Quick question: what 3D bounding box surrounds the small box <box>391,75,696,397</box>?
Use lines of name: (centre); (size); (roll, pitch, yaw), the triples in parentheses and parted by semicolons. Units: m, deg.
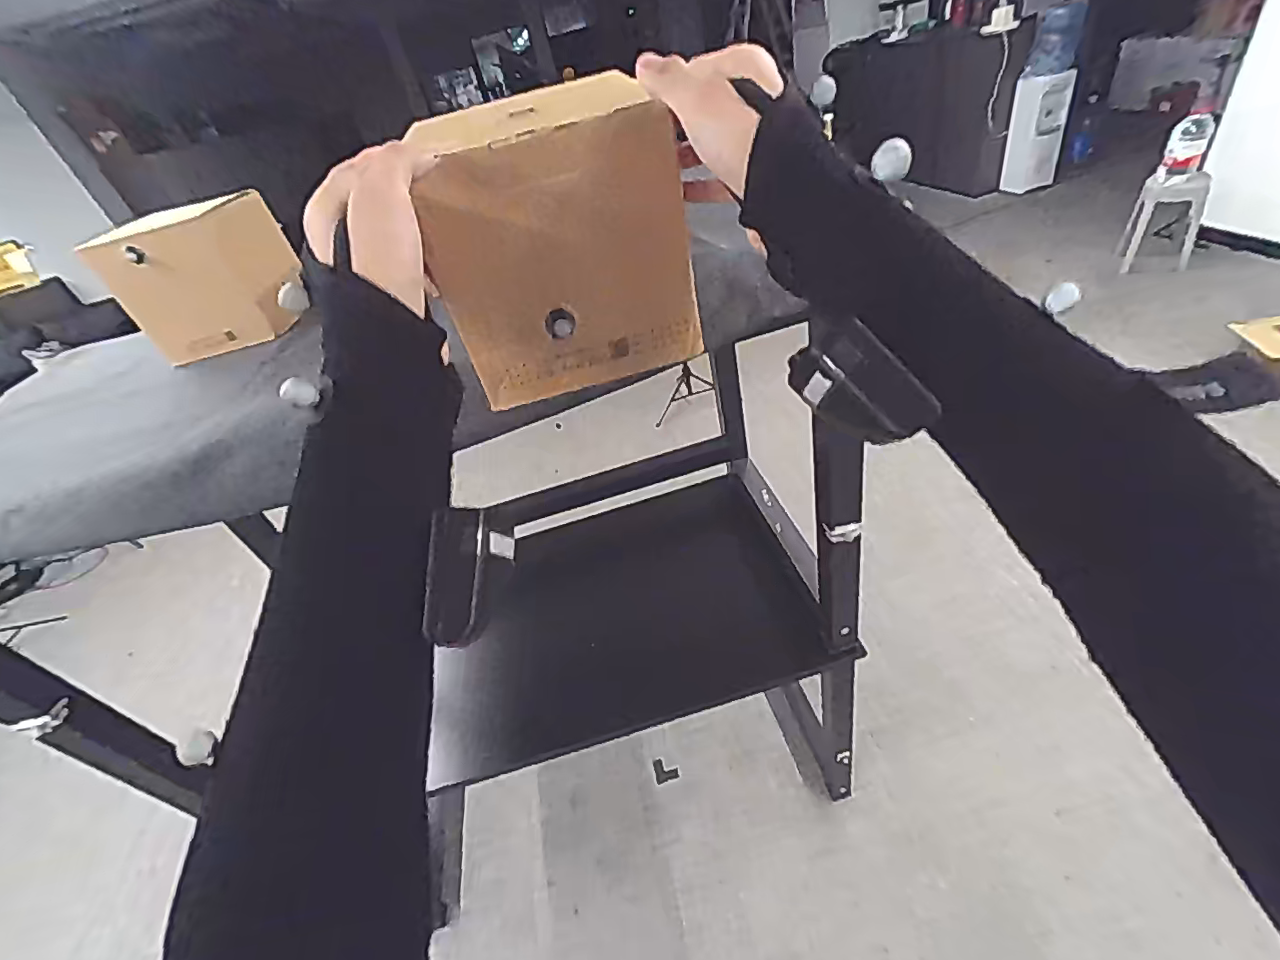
small box: (-0.062, -0.190, 0.418); (0.168, 0.176, 0.179); (-16, 41, -2)

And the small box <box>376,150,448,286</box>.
small box: (-0.246, -0.396, 0.776); (0.168, 0.176, 0.179); (-18, 37, -3)

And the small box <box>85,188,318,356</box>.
small box: (-0.612, -0.304, 0.790); (0.168, 0.176, 0.179); (-14, 38, 2)
